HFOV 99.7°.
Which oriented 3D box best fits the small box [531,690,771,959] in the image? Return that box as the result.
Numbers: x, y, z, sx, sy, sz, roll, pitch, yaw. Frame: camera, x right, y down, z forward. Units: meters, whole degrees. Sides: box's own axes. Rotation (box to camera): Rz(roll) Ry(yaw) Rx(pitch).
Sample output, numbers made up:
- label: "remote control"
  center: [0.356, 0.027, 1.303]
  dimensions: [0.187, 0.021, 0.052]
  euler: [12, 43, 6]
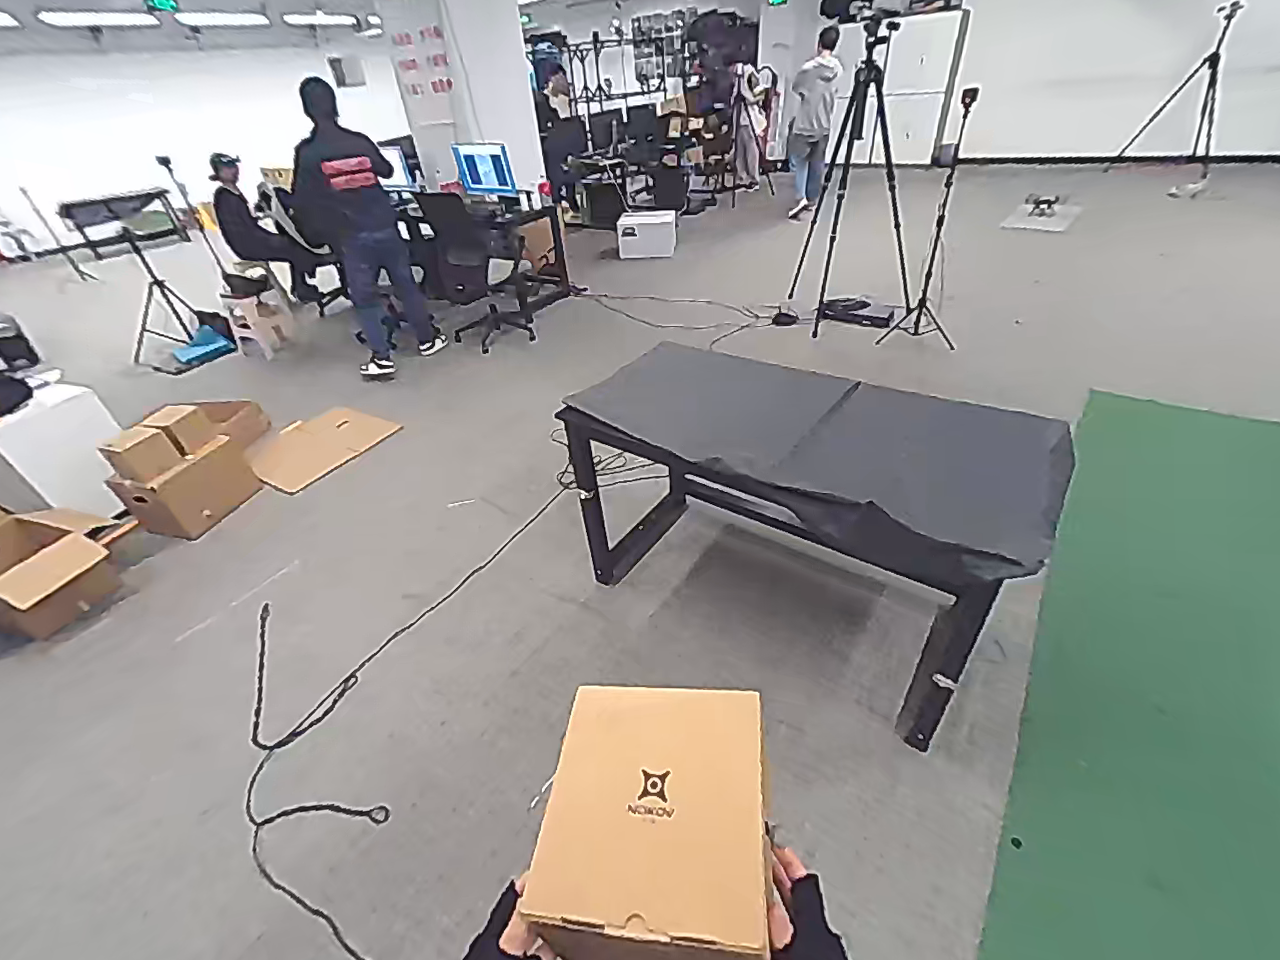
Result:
- label: "small box"
  center: [0.027, 0.312, 0.473]
  dimensions: [0.168, 0.176, 0.179]
  euler: [-3, 39, 13]
